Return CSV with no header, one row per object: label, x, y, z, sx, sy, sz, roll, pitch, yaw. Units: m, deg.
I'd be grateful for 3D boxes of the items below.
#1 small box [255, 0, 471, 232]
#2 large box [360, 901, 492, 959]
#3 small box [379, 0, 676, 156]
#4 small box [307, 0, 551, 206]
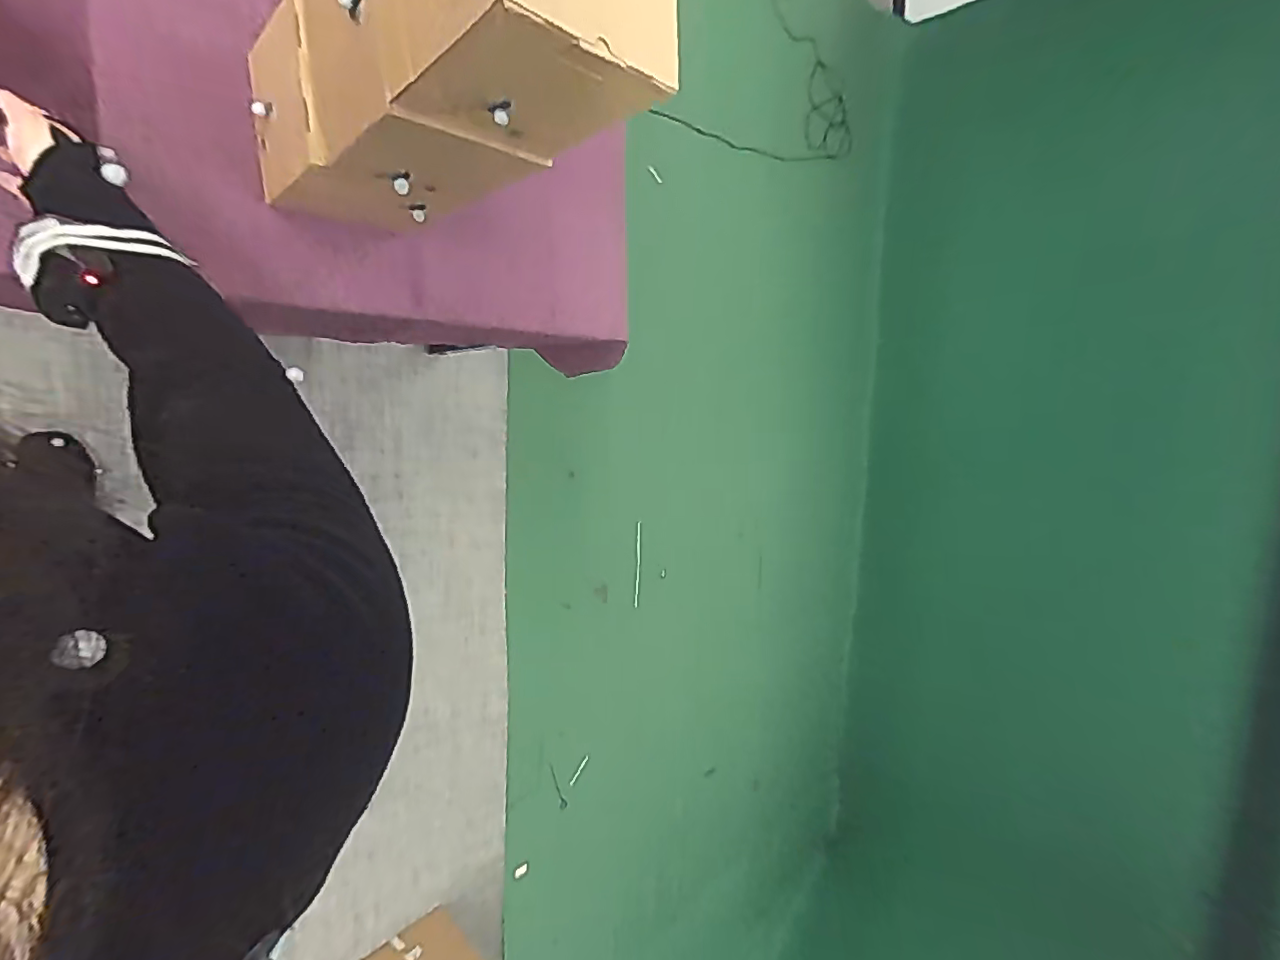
small box,-0.325,-0.409,0.642,0.179,0.176,0.168,-10,102,-46
large box,-0.633,1.582,1.575,0.320,0.320,0.408,-7,102,-47
small box,-0.090,-0.387,0.418,0.168,0.176,0.179,-14,106,-45
small box,-0.207,-0.396,0.531,0.168,0.176,0.179,-11,104,-45
